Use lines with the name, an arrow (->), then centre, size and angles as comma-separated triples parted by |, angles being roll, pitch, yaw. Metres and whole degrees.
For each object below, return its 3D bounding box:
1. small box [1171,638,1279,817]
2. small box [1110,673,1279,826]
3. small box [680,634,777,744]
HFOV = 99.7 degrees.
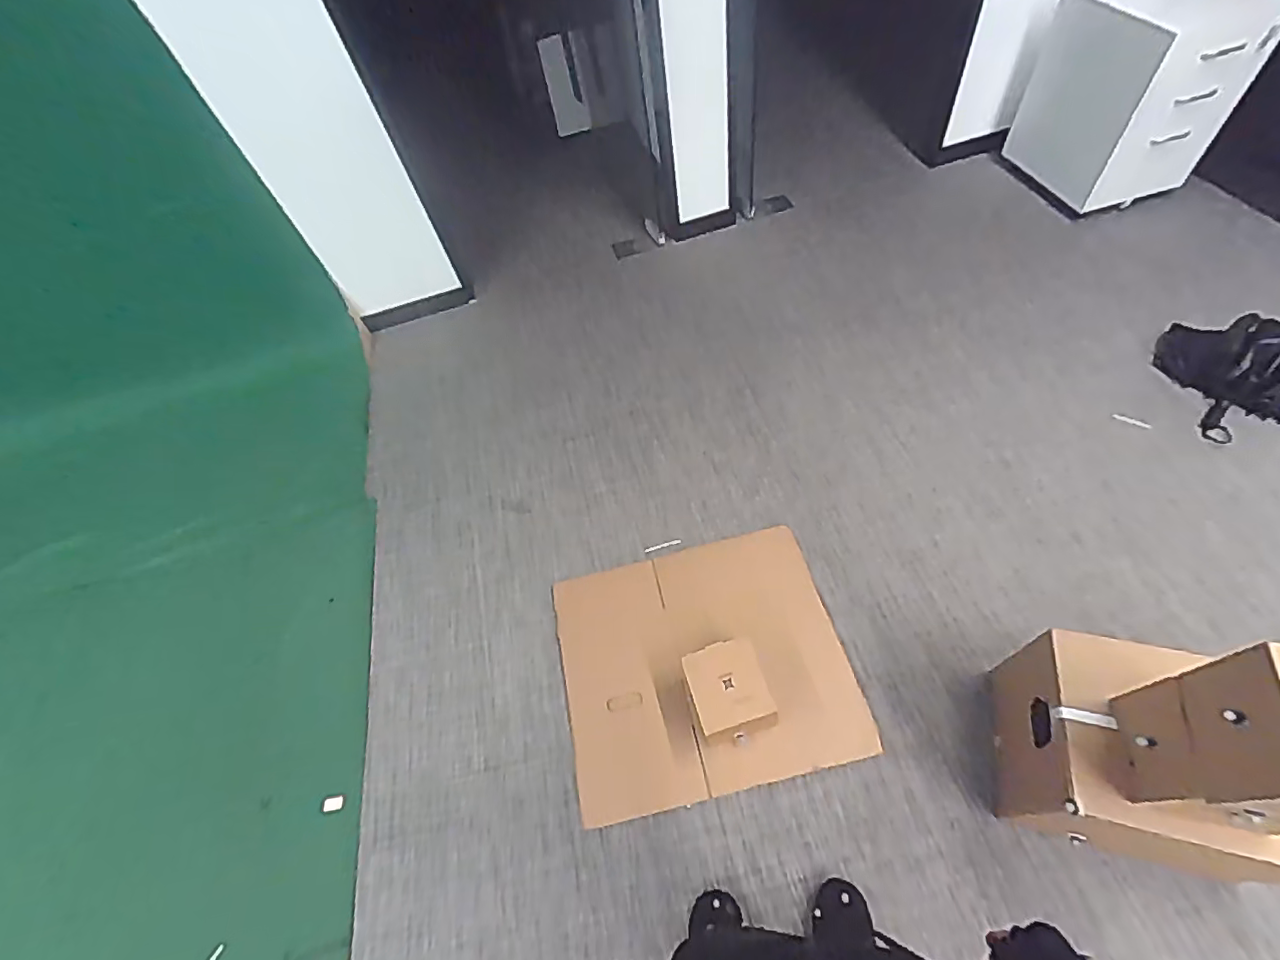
small box -> 0.828, 0.324, 0.675 | 0.168, 0.176, 0.179 | 9, 58, 16
small box -> 0.860, 0.409, 0.816 | 0.179, 0.176, 0.168 | 5, 56, 12
small box -> 0.203, 0.483, 1.240 | 0.168, 0.176, 0.179 | -21, 55, 1
